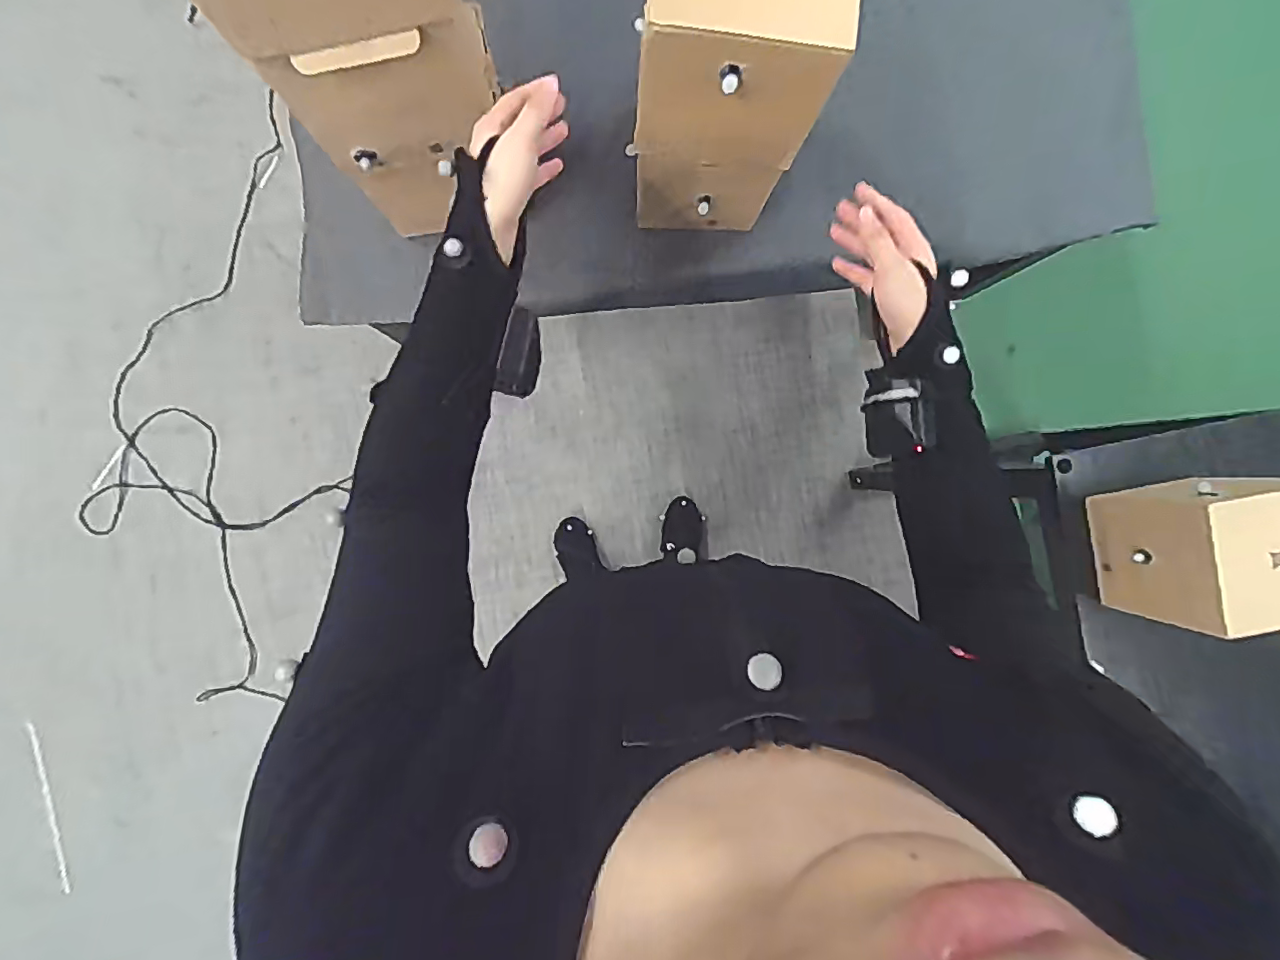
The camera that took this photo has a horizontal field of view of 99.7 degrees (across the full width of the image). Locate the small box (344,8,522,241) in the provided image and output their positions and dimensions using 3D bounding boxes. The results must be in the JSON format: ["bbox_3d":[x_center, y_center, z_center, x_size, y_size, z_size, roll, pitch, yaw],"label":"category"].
[{"bbox_3d":[-0.252,-0.423,0.671,0.179,0.176,0.168,-11,89,-2],"label":"small box"}]

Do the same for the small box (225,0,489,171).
[{"bbox_3d":[-0.255,-0.422,0.506,0.168,0.176,0.179,-15,88,-3],"label":"small box"}]

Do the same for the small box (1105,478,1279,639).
[{"bbox_3d":[0.760,0.091,0.709,0.179,0.176,0.168,-10,92,-2],"label":"small box"}]

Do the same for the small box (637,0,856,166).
[{"bbox_3d":[0.091,-0.432,0.519,0.179,0.176,0.168,5,89,-1],"label":"small box"}]

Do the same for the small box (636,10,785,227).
[{"bbox_3d":[0.081,-0.439,0.682,0.168,0.176,0.179,0,90,-2],"label":"small box"}]
